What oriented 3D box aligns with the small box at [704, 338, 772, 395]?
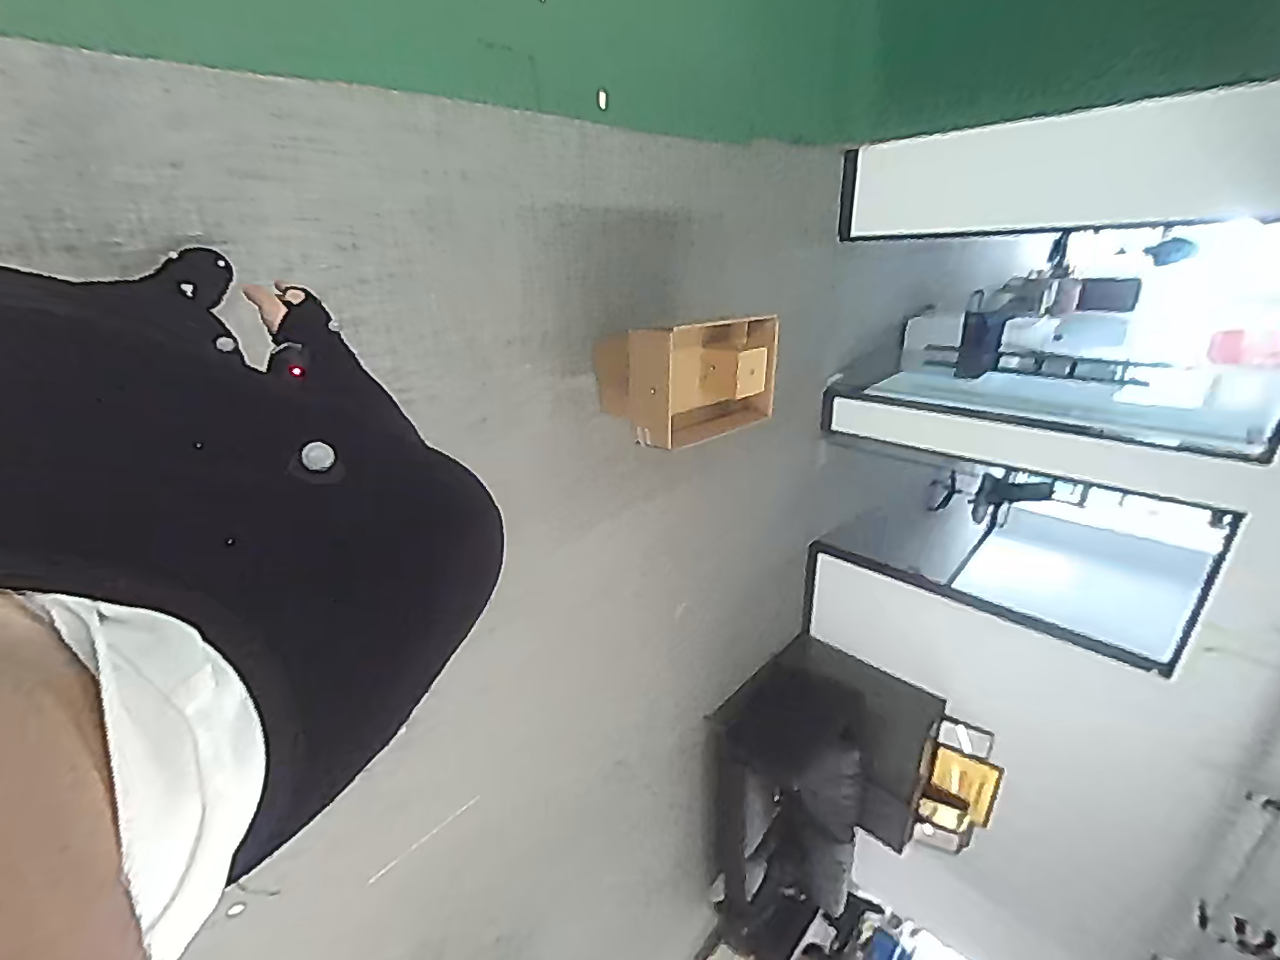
[{"bbox_3d":[0.353,-0.417,1.960,0.179,0.176,0.168,-21,120,-39],"label":"small box"}]
